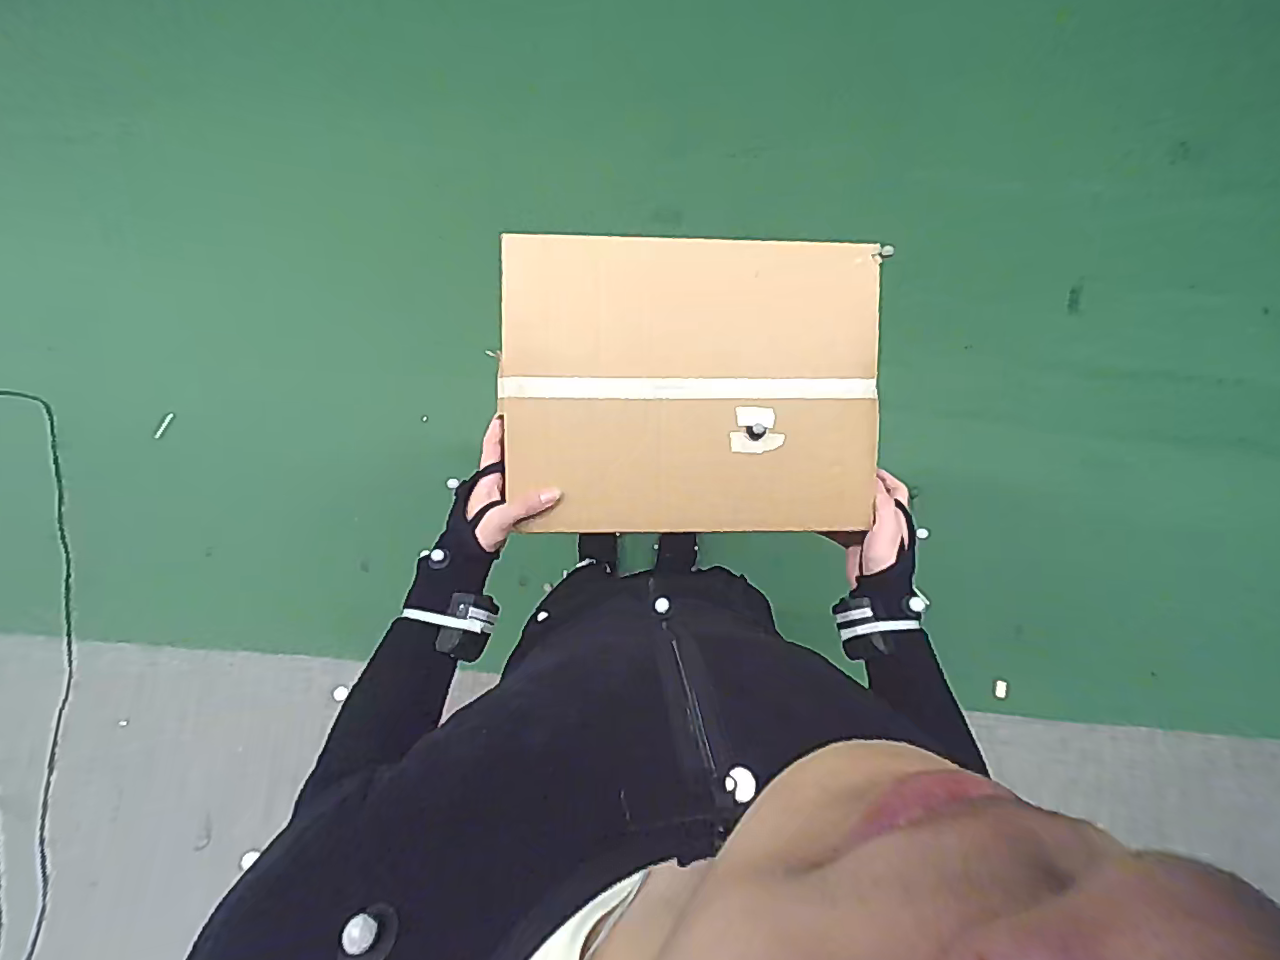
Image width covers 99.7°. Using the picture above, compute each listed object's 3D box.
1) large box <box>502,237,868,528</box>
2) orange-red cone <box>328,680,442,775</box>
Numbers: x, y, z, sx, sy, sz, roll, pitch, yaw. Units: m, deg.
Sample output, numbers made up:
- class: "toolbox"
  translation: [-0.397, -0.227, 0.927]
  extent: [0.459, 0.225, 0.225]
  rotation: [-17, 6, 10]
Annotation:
- class: "large box"
  translation: [0.042, -0.112, 0.737]
  extent: [0.408, 0.320, 0.320]
  rotation: [0, 94, -4]
- class: "orange-red cone"
  translation: [-0.709, 0.692, 1.438]
  extent: [0.199, 0.360, 0.198]
  rotation: [12, 84, 3]
